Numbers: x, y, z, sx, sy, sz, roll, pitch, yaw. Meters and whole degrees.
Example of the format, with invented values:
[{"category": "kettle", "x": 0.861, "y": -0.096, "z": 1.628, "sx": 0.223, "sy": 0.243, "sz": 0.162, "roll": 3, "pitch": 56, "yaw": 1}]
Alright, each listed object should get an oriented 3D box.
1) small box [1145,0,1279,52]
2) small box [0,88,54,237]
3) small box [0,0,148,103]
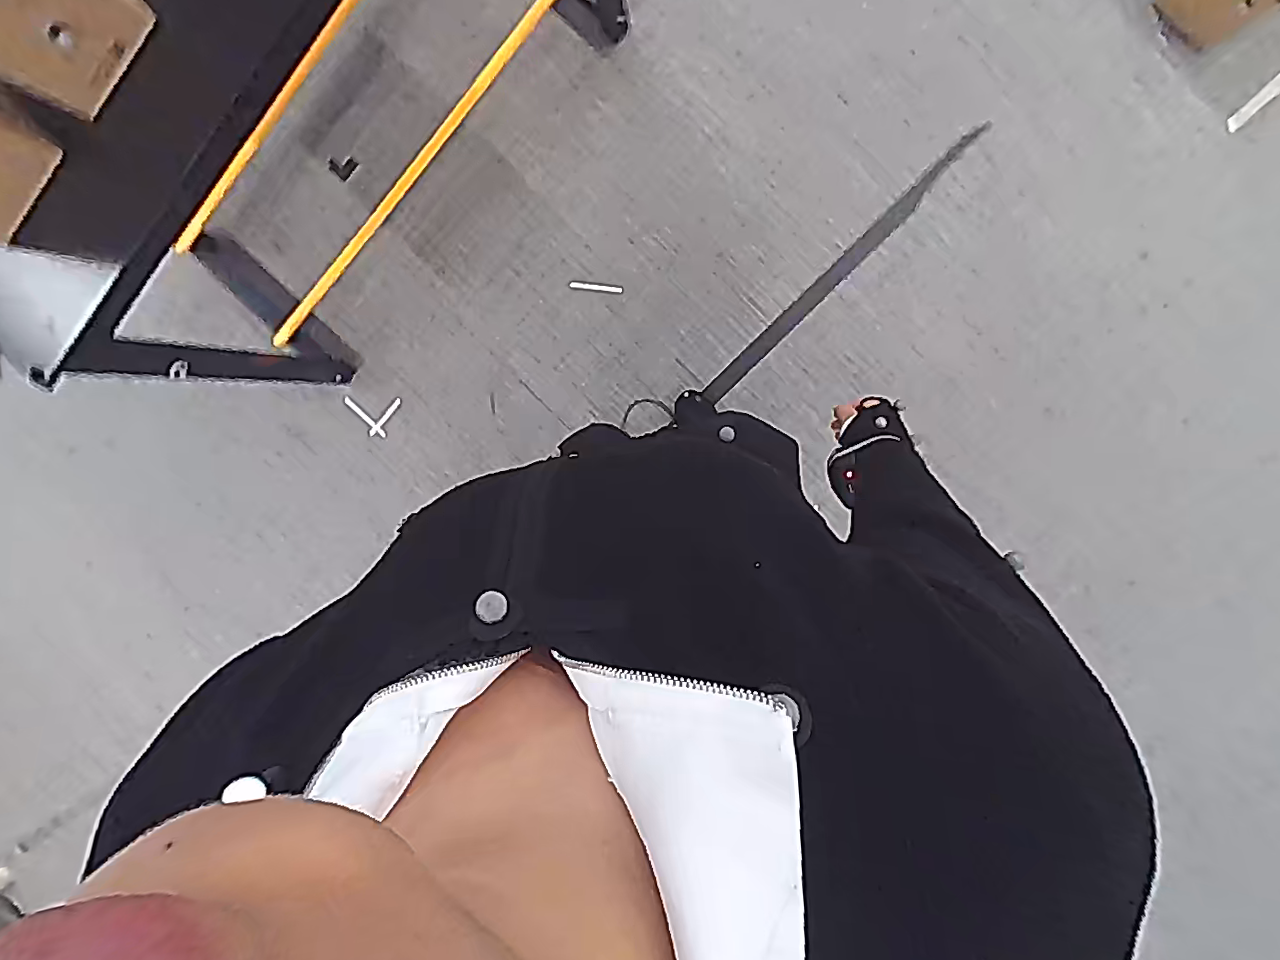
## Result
[{"category": "small box", "x": 1.233, "y": -1.046, "z": 1.120, "sx": 0.179, "sy": 0.176, "sz": 0.168, "roll": 43, "pitch": 101, "yaw": -2}, {"category": "small box", "x": -0.935, "y": -0.446, "z": 0.693, "sx": 0.168, "sy": 0.176, "sz": 0.179, "roll": 44, "pitch": 100, "yaw": -2}, {"category": "small box", "x": -0.769, "y": -0.605, "z": 0.653, "sx": 0.168, "sy": 0.176, "sz": 0.179, "roll": -44, "pitch": 93, "yaw": 10}]
